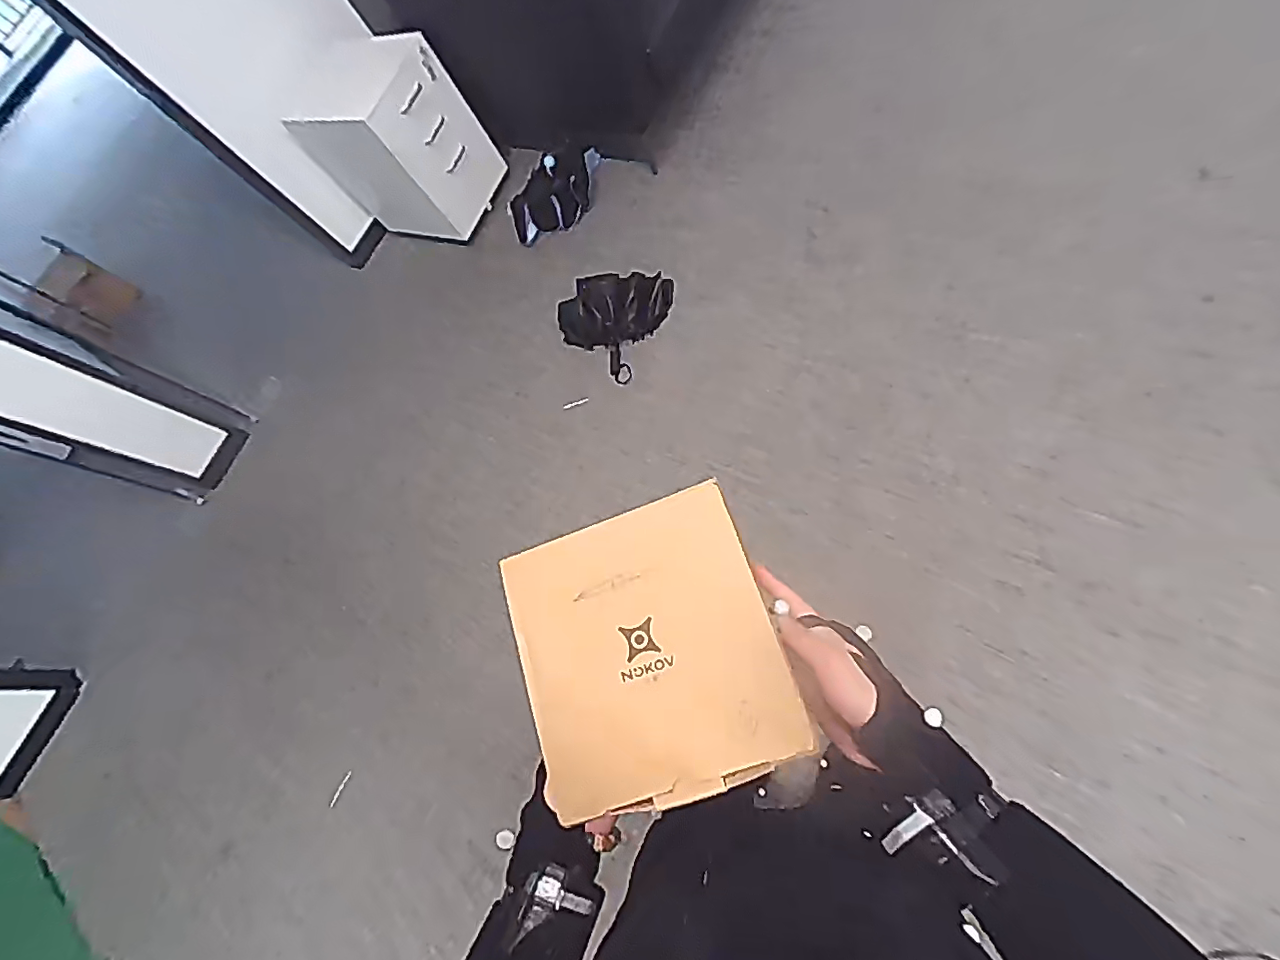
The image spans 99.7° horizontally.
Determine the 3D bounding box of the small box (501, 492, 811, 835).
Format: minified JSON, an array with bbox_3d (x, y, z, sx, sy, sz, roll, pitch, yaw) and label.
[{"bbox_3d":[0.020,0.133,0.420,0.168,0.176,0.179,-22,69,7],"label":"small box"}]
